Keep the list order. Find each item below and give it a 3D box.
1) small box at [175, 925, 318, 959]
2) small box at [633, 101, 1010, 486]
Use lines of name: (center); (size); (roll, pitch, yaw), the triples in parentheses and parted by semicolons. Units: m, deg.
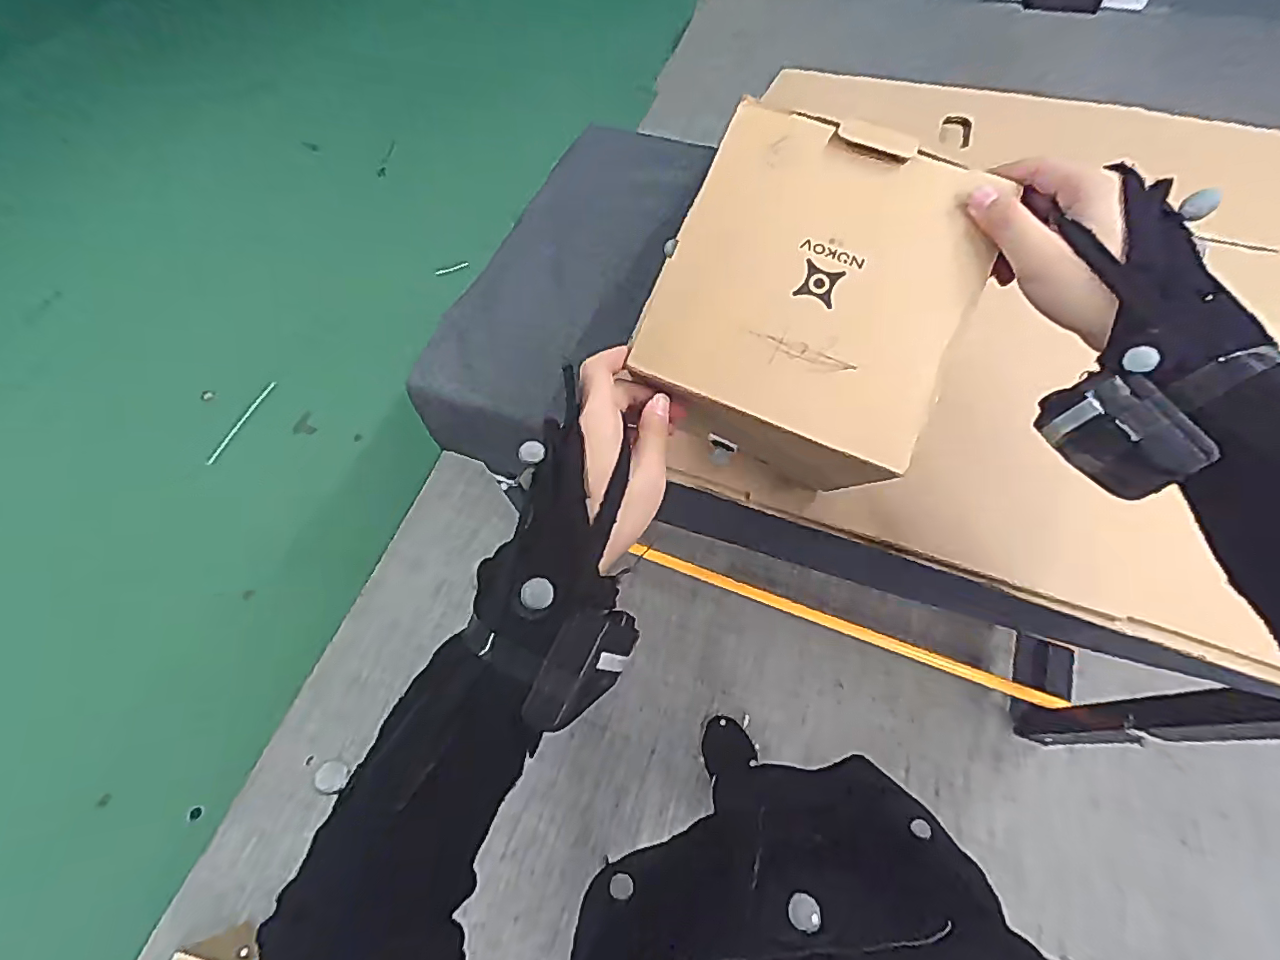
small box: (-0.727, 0.935, 0.967); (0.179, 0.176, 0.168); (8, 64, 10)
small box: (0.108, -0.108, 0.386); (0.168, 0.176, 0.179); (23, 88, 7)
